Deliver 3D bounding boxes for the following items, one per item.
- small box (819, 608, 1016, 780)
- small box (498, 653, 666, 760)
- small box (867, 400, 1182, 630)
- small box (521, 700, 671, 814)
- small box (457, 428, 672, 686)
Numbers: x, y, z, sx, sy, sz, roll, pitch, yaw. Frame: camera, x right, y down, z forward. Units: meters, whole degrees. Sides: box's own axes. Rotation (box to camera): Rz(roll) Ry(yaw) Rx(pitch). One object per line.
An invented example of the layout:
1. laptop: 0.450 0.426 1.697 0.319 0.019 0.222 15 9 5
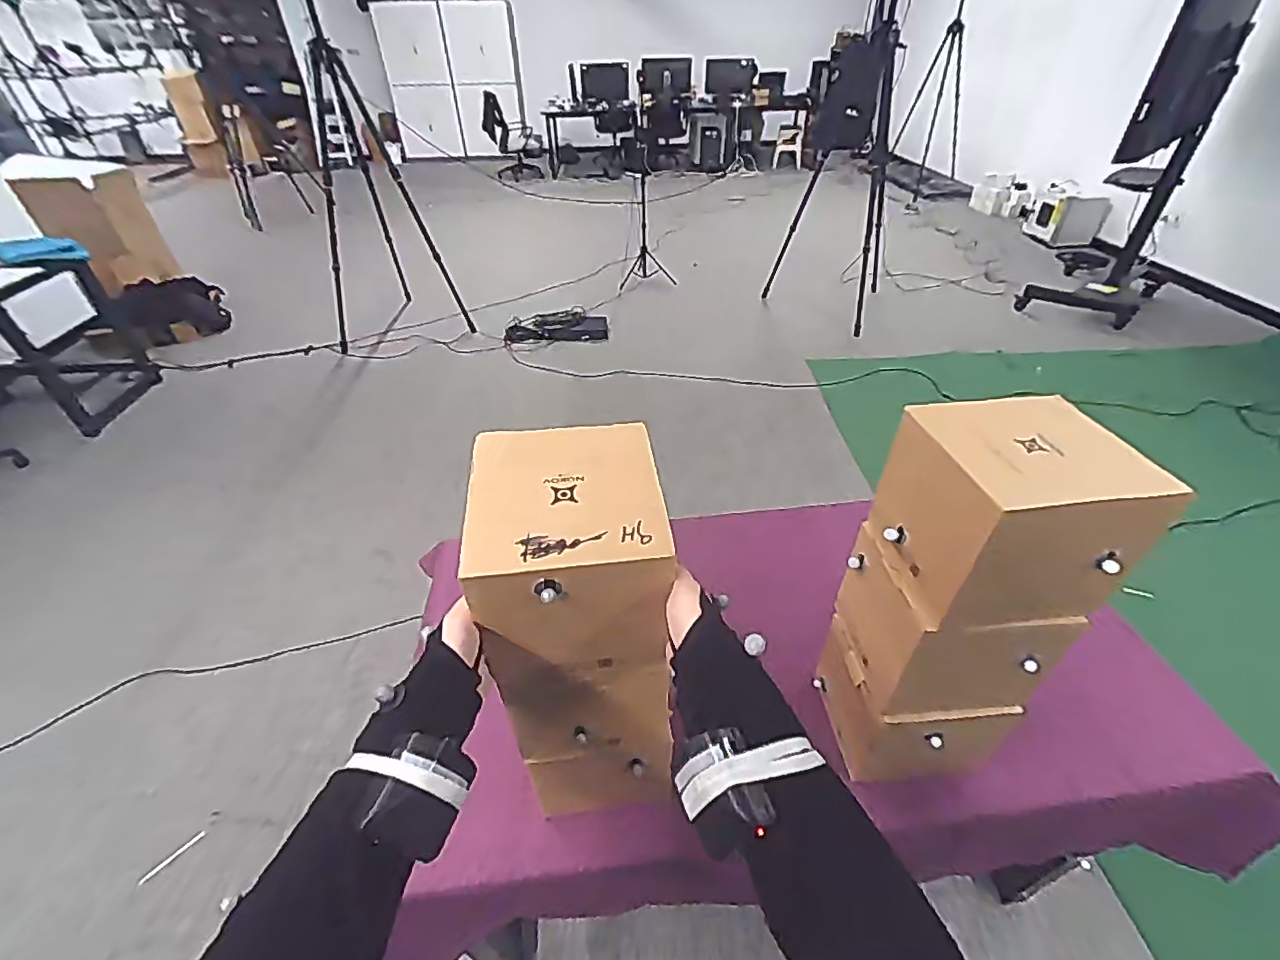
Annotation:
1. small box: 0.364 0.299 0.756 0.179 0.176 0.168 -3 40 -3
2. small box: -0.065 0.198 0.636 0.168 0.176 0.179 -5 40 -5
3. small box: 0.368 0.035 0.561 0.179 0.176 0.168 -5 39 -4
4. small box: -0.058 0.327 0.736 0.179 0.176 0.168 -5 39 -4
5. small box: -0.066 0.071 0.523 0.168 0.176 0.179 -5 43 -6
